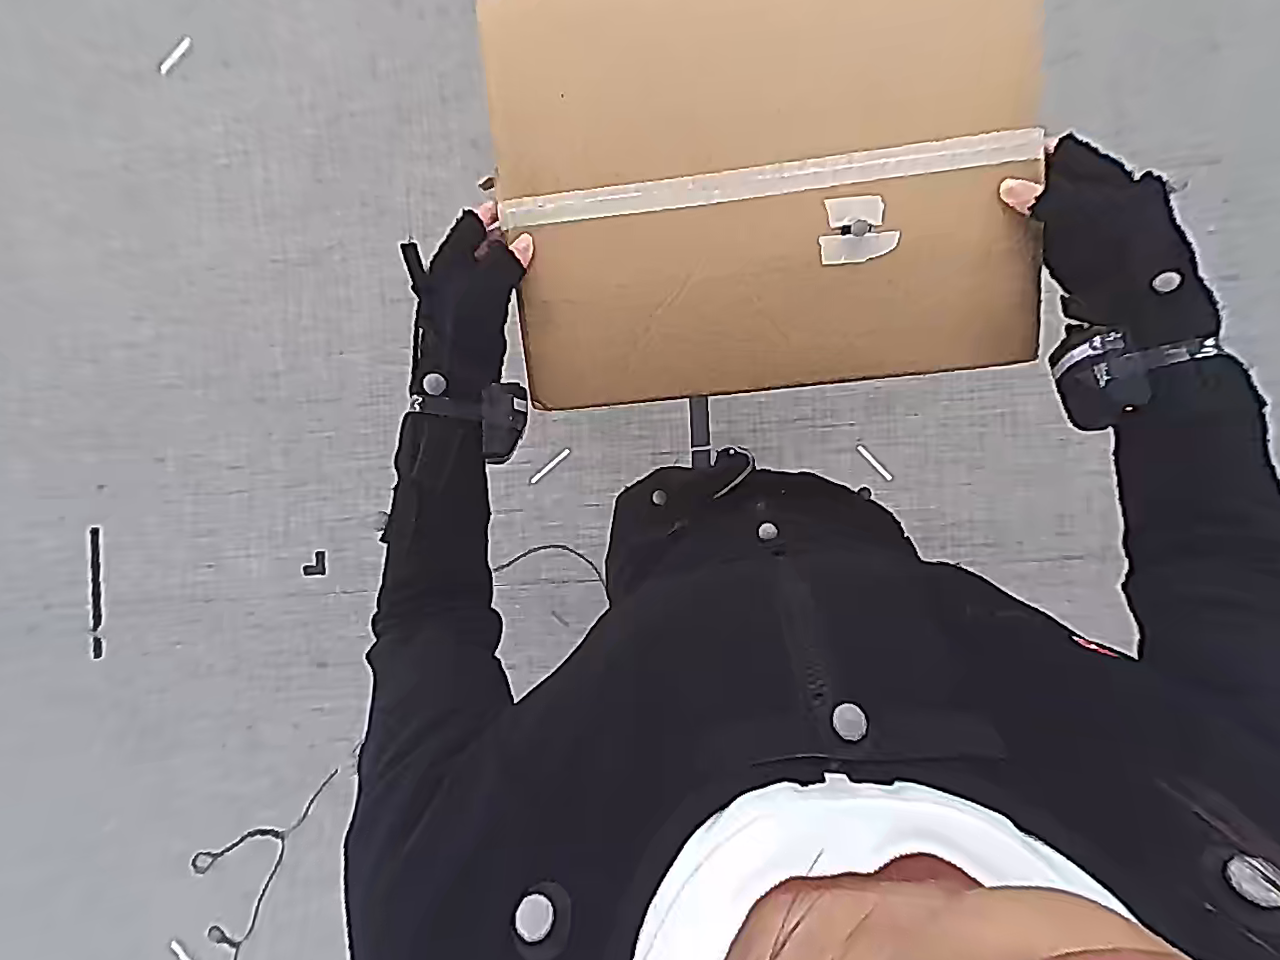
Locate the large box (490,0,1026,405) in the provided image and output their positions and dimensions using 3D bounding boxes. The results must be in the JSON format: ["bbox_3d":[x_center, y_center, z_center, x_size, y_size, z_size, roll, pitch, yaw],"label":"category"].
[{"bbox_3d":[0.102,-0.262,0.574,0.408,0.320,0.320,-5,101,4],"label":"large box"}]
